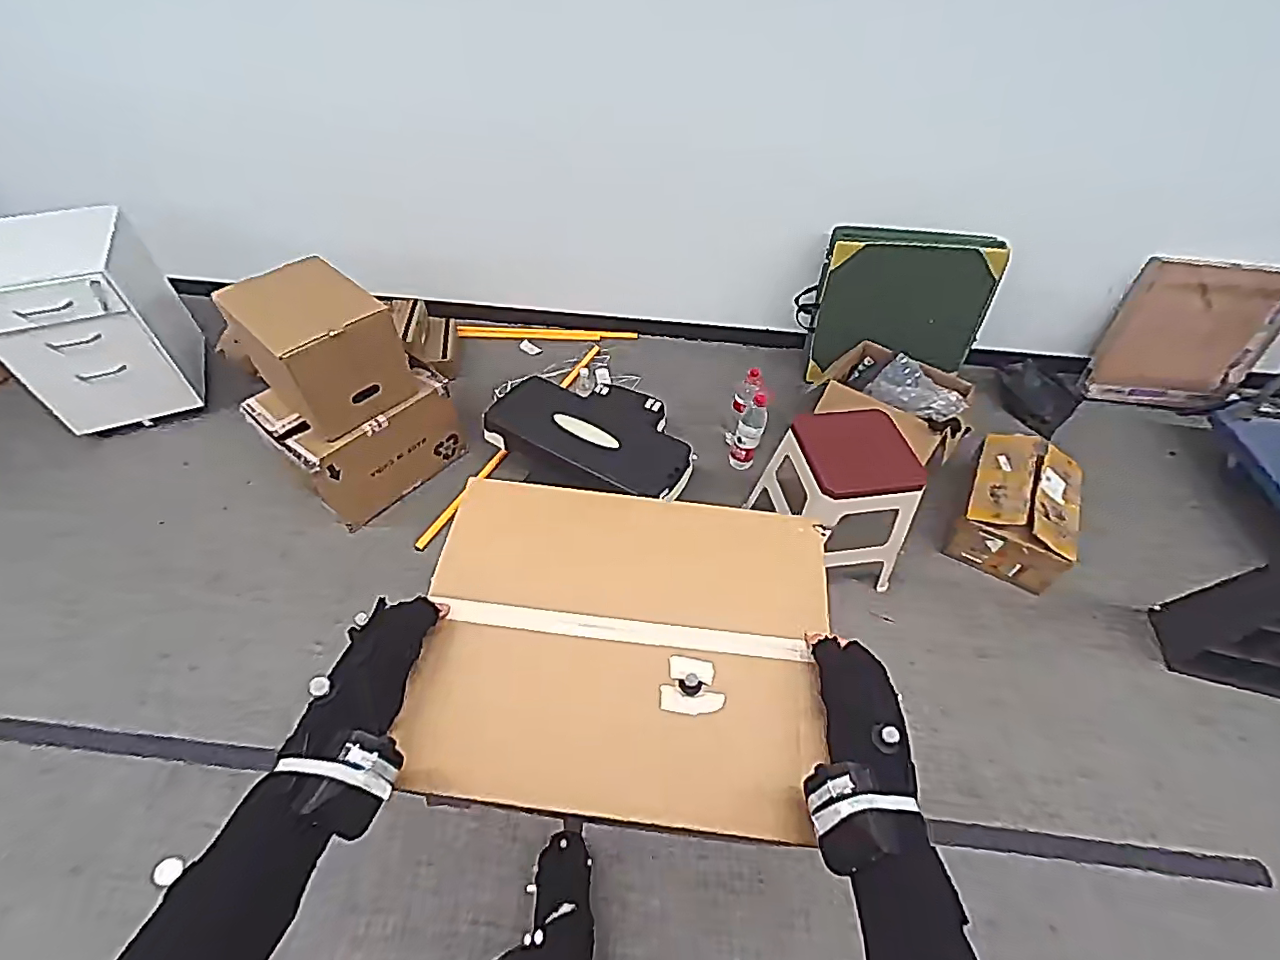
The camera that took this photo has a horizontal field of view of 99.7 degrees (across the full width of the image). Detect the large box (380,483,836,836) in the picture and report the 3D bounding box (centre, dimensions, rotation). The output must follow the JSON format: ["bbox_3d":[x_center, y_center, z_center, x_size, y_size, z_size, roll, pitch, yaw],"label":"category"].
[{"bbox_3d":[-0.023,0.232,0.666,0.408,0.320,0.320,7,57,2],"label":"large box"}]
